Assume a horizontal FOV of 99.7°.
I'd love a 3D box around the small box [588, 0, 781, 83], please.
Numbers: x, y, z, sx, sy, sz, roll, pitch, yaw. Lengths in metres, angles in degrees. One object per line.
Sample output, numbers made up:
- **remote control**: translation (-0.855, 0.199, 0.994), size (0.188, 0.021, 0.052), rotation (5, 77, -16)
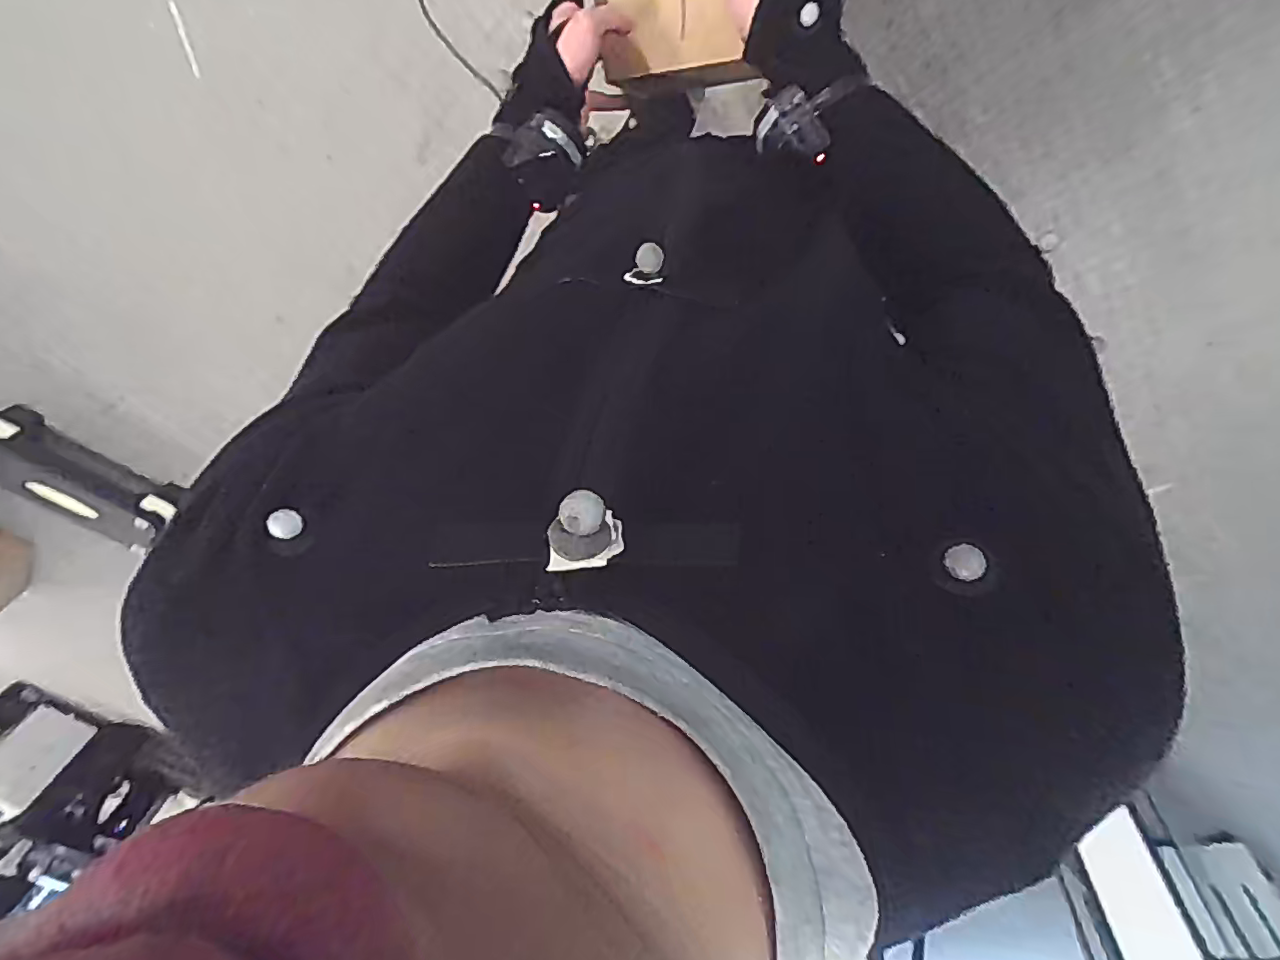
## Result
- **small box**: translation (0.048, -0.499, 0.509), size (0.168, 0.176, 0.179), rotation (2, 122, 16)
